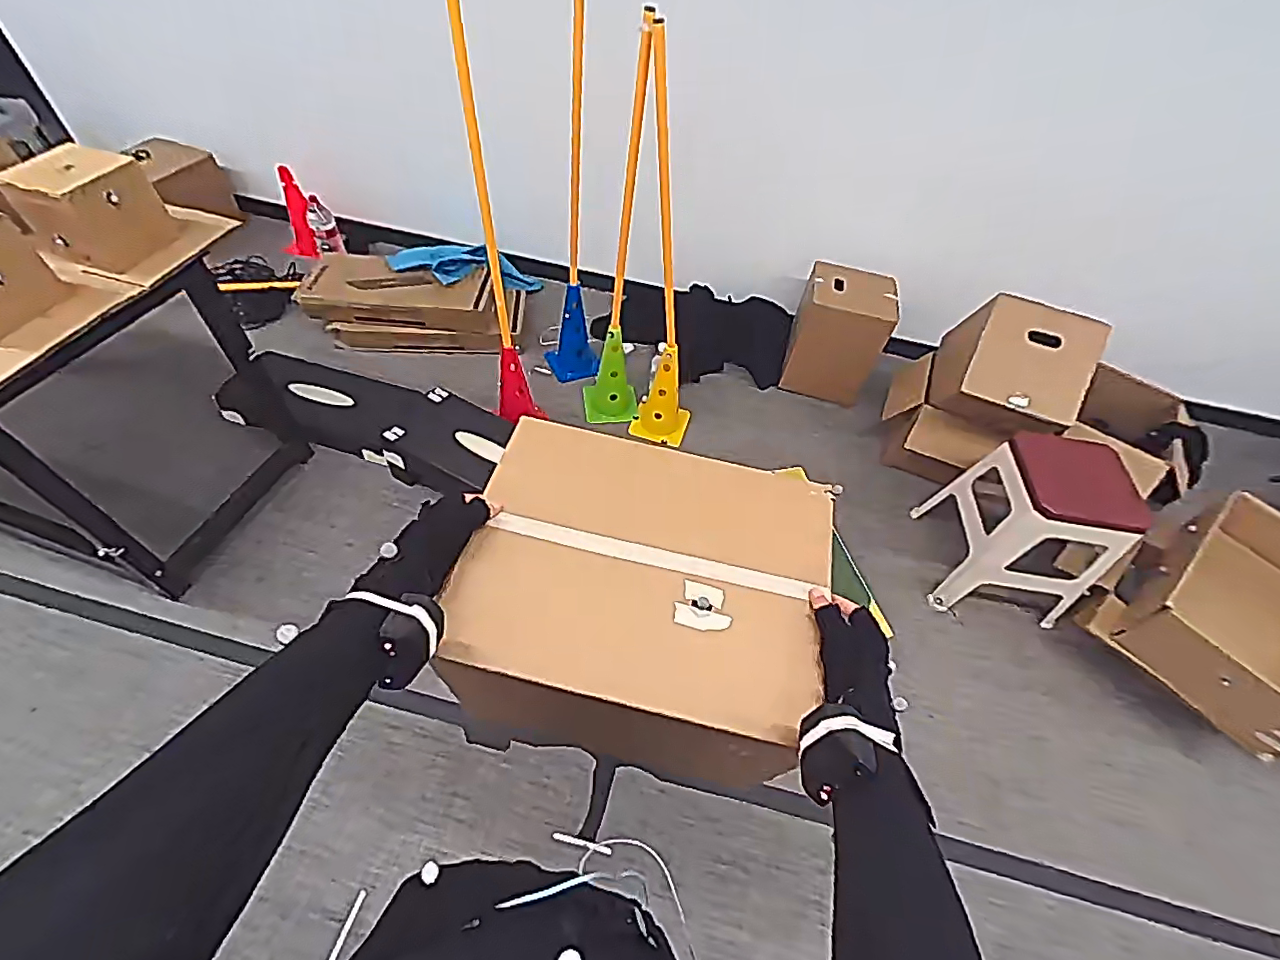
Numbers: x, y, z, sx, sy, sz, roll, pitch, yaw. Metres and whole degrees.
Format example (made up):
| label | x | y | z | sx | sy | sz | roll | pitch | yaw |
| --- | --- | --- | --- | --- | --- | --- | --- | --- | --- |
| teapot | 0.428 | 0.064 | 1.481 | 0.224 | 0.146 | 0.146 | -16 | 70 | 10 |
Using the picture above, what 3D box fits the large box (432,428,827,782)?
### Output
| label | x | y | z | sx | sy | sz | roll | pitch | yaw |
| --- | --- | --- | --- | --- | --- | --- | --- | --- | --- |
| large box | -0.001 | 0.178 | 0.734 | 0.408 | 0.320 | 0.320 | 14 | 56 | 3 |
